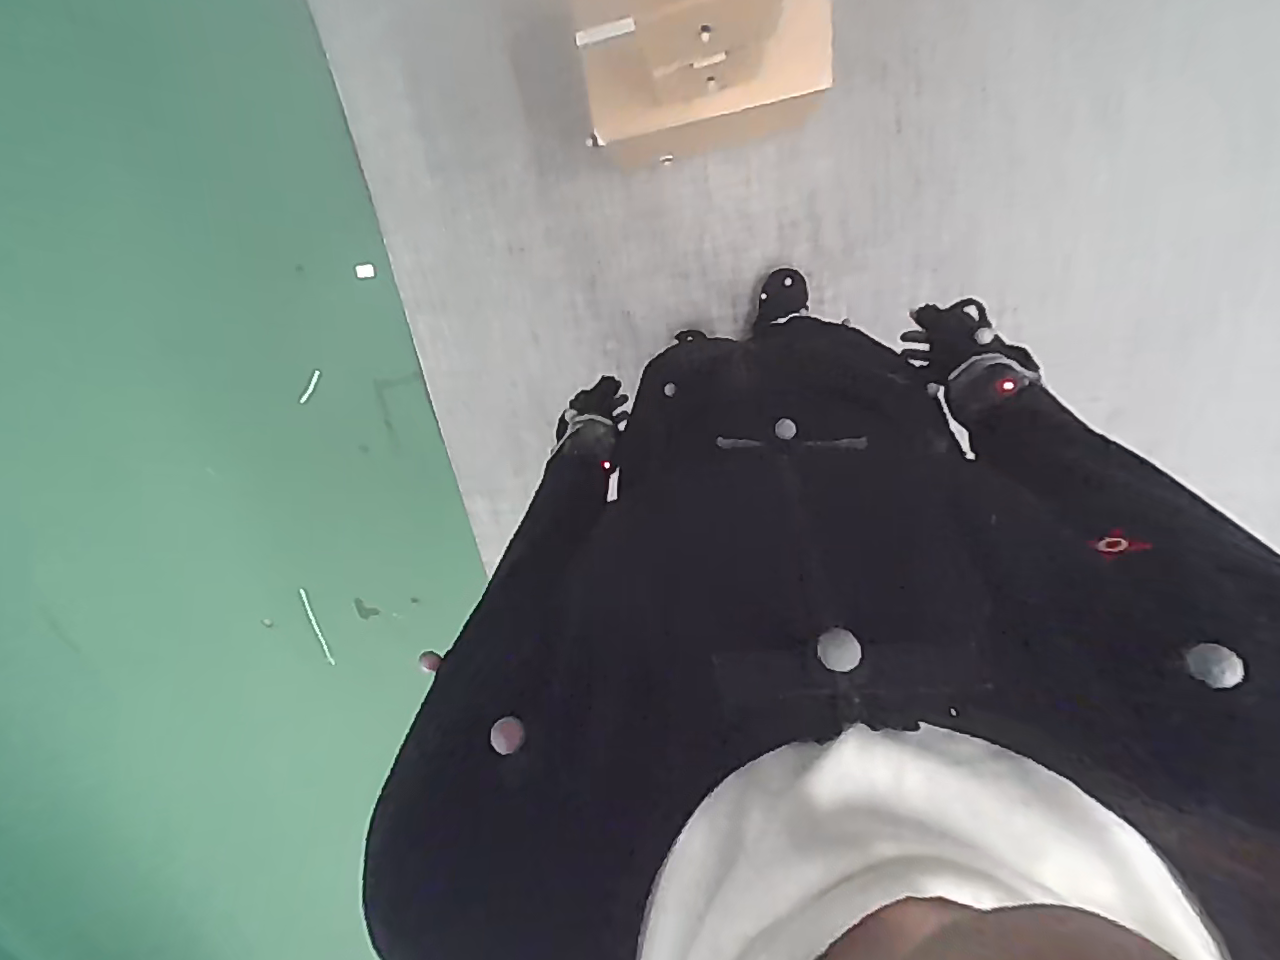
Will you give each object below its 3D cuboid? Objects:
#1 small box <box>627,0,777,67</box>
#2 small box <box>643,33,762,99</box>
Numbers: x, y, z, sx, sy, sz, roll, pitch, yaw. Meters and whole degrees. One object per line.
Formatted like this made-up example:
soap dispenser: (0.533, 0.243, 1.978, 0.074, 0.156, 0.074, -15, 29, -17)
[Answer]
small box: (0.069, -0.631, 0.642, 0.179, 0.176, 0.168, -7, 110, 11)
small box: (0.080, -0.692, 0.795, 0.168, 0.176, 0.179, -10, 111, 11)
